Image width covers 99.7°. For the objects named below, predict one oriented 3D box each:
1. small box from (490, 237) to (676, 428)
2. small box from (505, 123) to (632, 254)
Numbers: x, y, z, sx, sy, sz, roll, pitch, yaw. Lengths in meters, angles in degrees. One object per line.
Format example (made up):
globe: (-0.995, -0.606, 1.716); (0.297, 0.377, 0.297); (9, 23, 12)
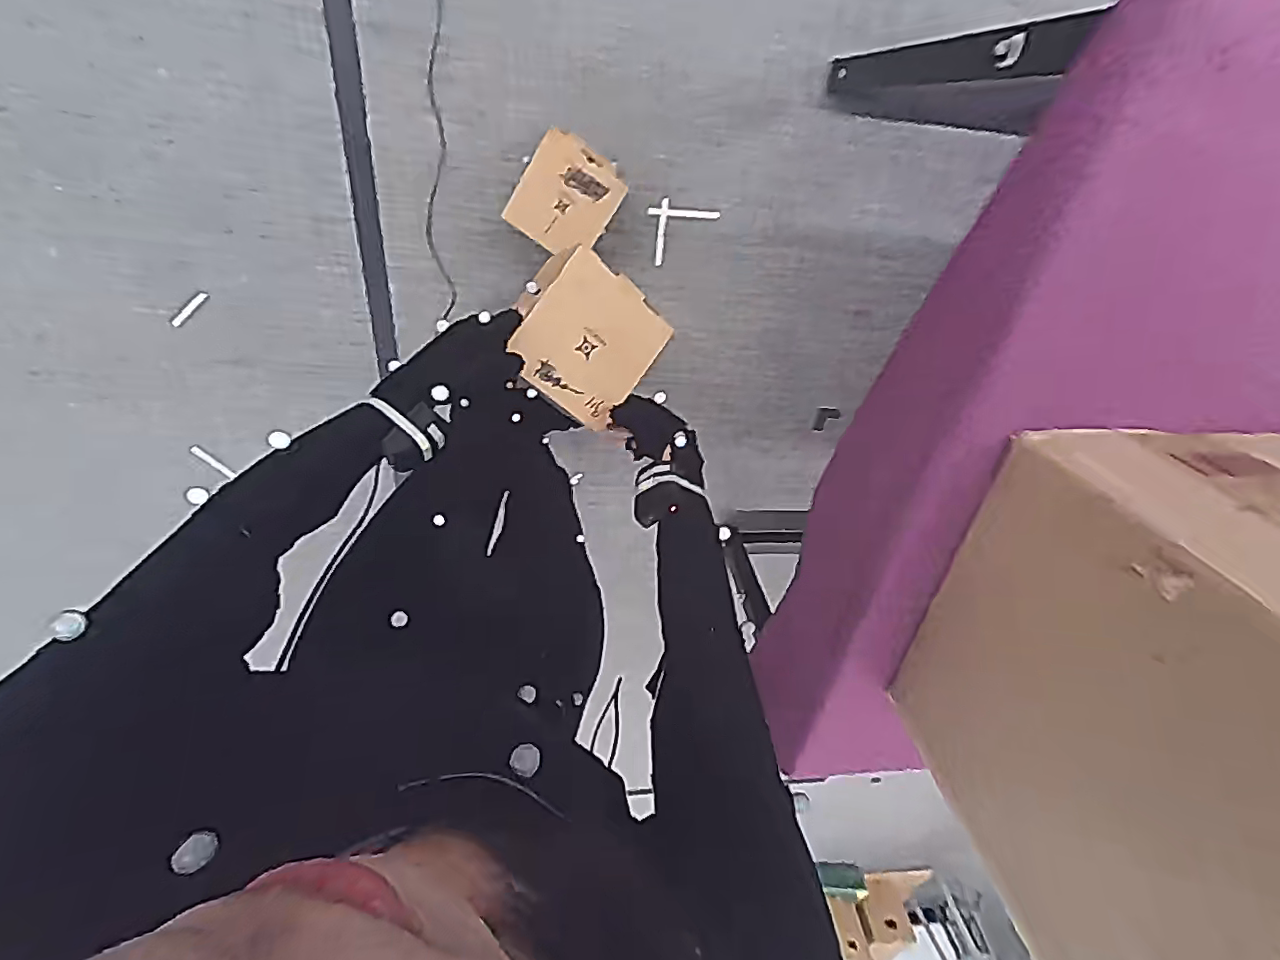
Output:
small box: (-0.089, -0.199, 0.748); (0.168, 0.176, 0.179); (36, 89, -27)
small box: (-0.138, -0.542, 1.026); (0.168, 0.176, 0.179); (30, 116, -24)
